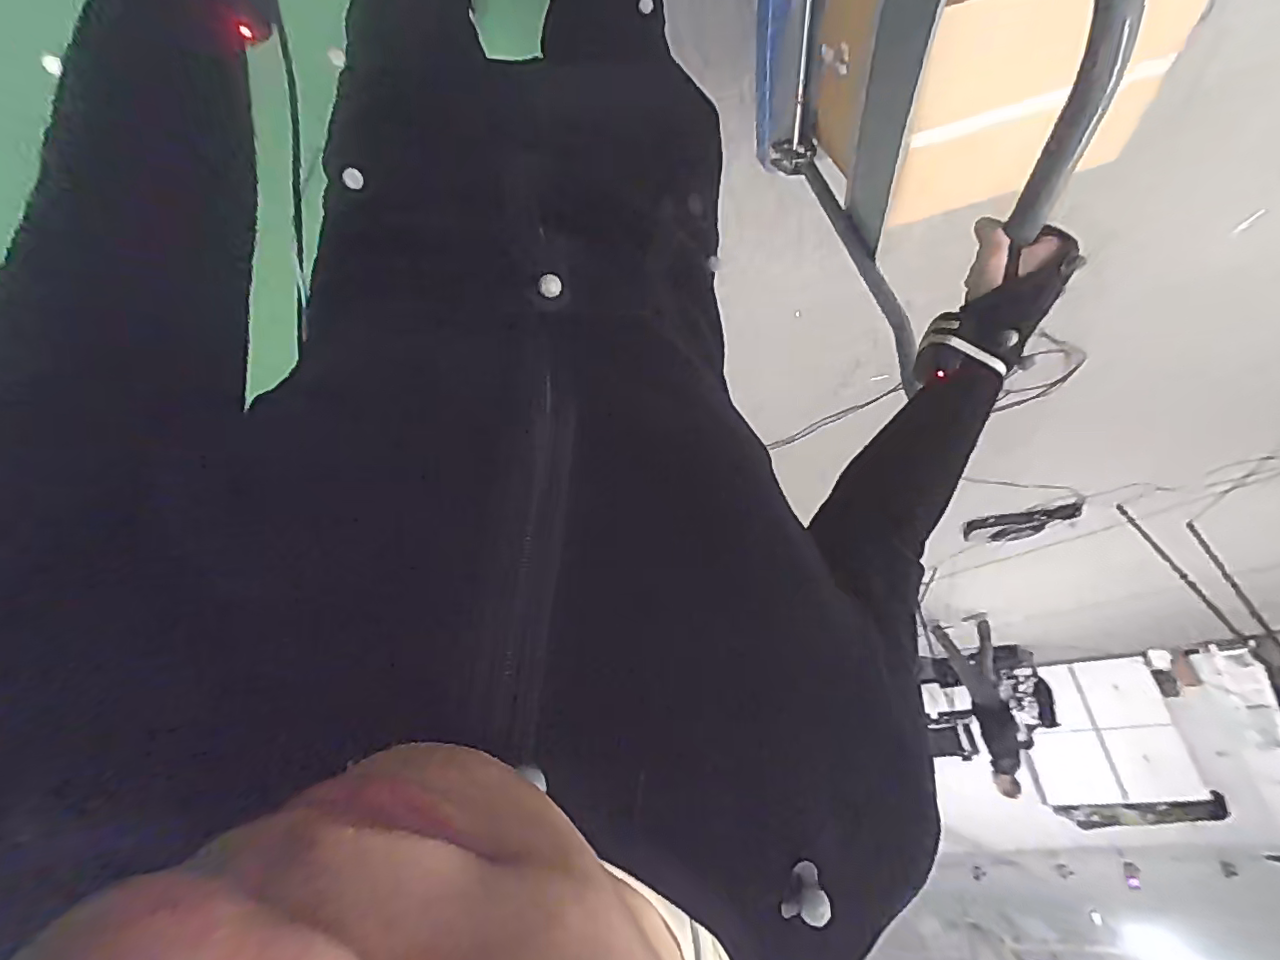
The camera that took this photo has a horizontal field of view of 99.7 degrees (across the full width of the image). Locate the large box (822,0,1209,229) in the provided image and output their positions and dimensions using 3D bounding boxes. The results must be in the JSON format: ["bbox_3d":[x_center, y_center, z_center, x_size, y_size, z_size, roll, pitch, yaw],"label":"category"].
[{"bbox_3d":[0.551,-0.683,0.867,0.408,0.320,0.320,-17,150,2],"label":"large box"}]
